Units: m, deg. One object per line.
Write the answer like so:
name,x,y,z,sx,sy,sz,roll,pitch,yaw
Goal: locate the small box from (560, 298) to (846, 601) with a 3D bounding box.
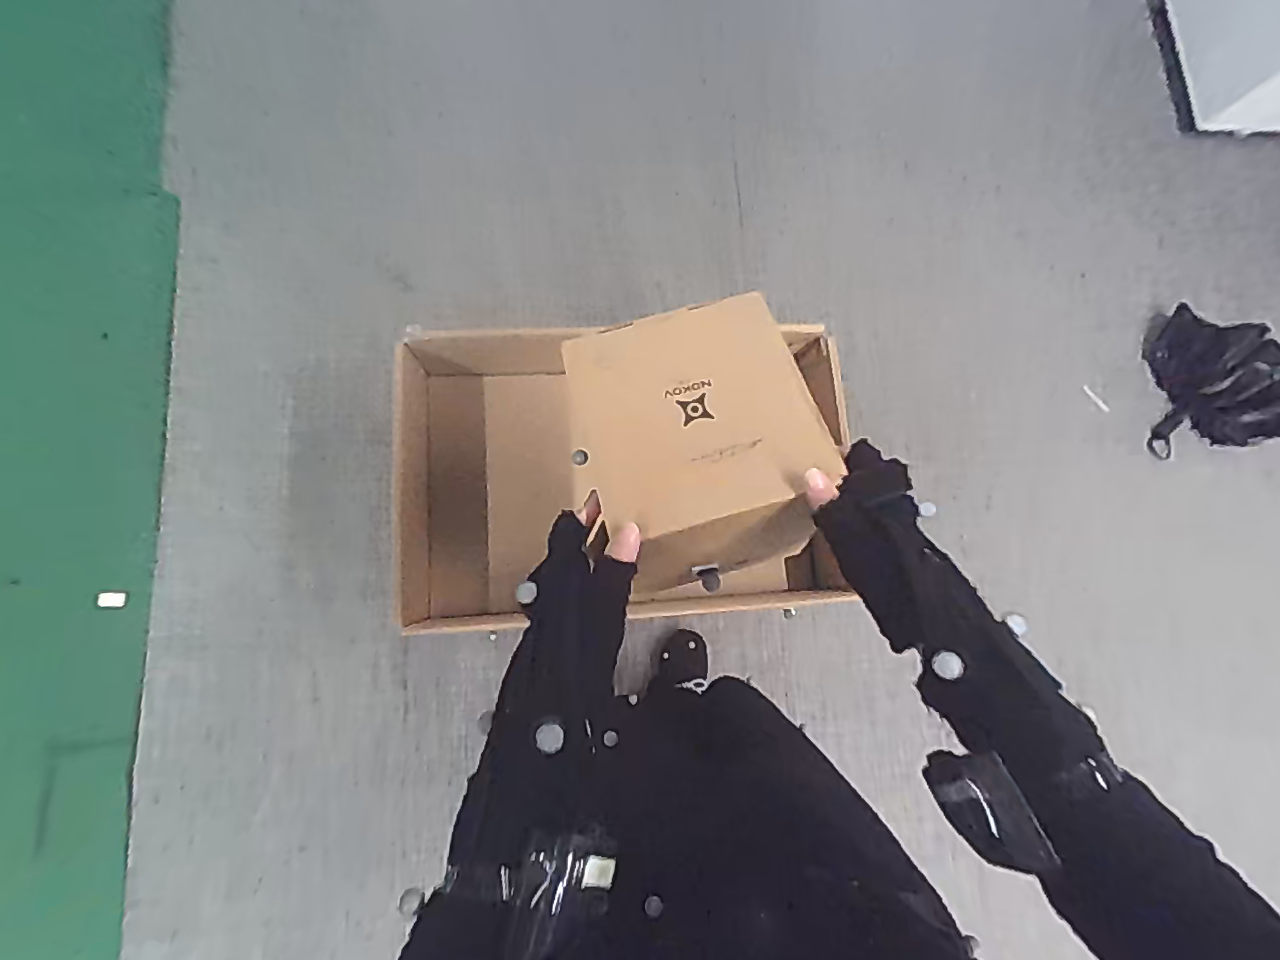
small box,0.042,-0.015,0.459,0.168,0.176,0.179,-17,67,-2
